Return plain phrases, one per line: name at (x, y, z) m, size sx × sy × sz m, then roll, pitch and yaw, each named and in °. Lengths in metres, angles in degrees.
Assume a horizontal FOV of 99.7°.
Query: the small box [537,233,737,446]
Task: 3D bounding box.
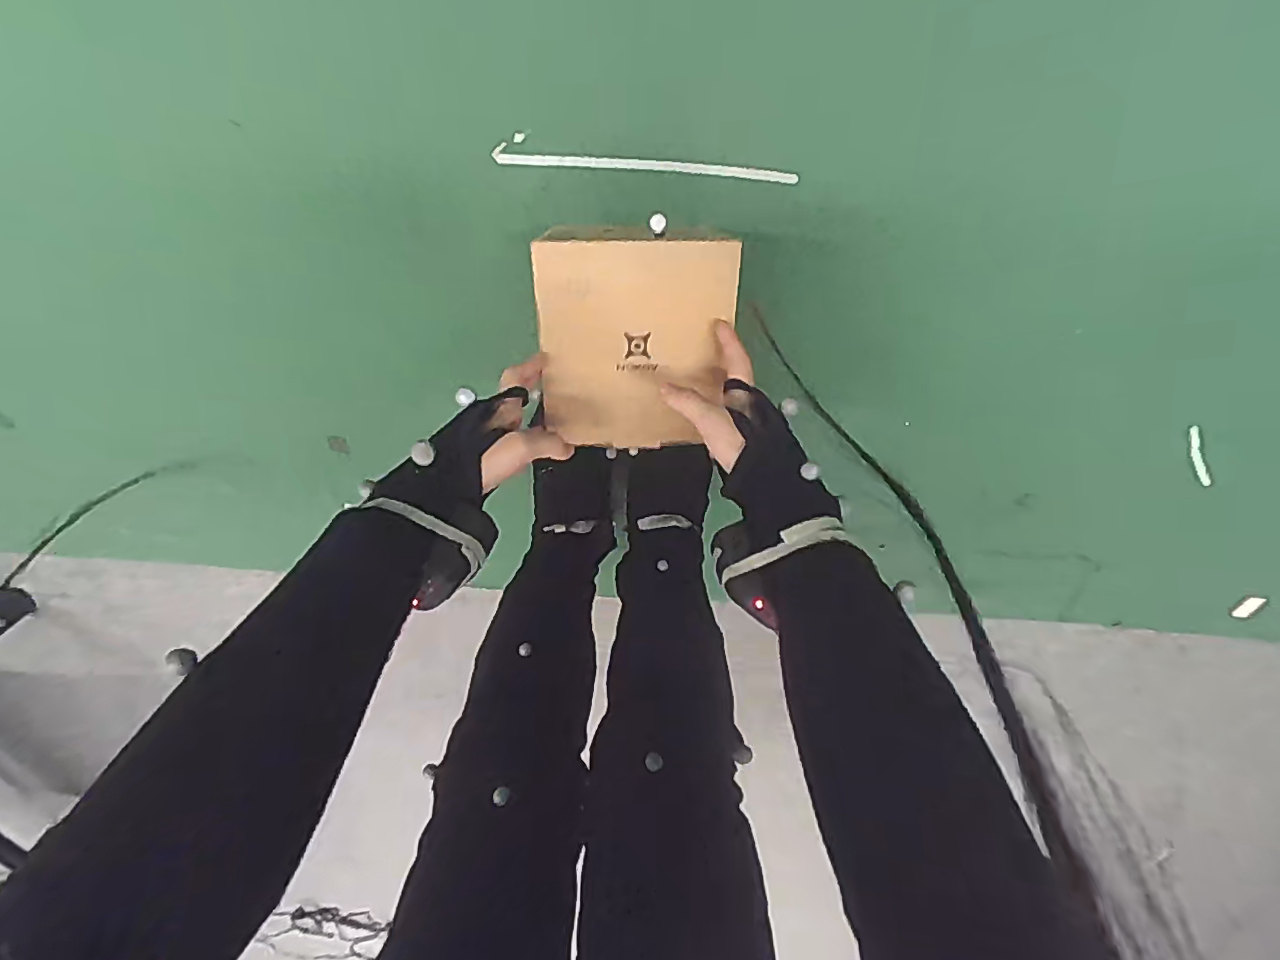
small box at (-0.010, -0.147, 0.539) m, size 0.168 × 0.176 × 0.179 m, roll -1°, pitch 119°, yaw -4°
